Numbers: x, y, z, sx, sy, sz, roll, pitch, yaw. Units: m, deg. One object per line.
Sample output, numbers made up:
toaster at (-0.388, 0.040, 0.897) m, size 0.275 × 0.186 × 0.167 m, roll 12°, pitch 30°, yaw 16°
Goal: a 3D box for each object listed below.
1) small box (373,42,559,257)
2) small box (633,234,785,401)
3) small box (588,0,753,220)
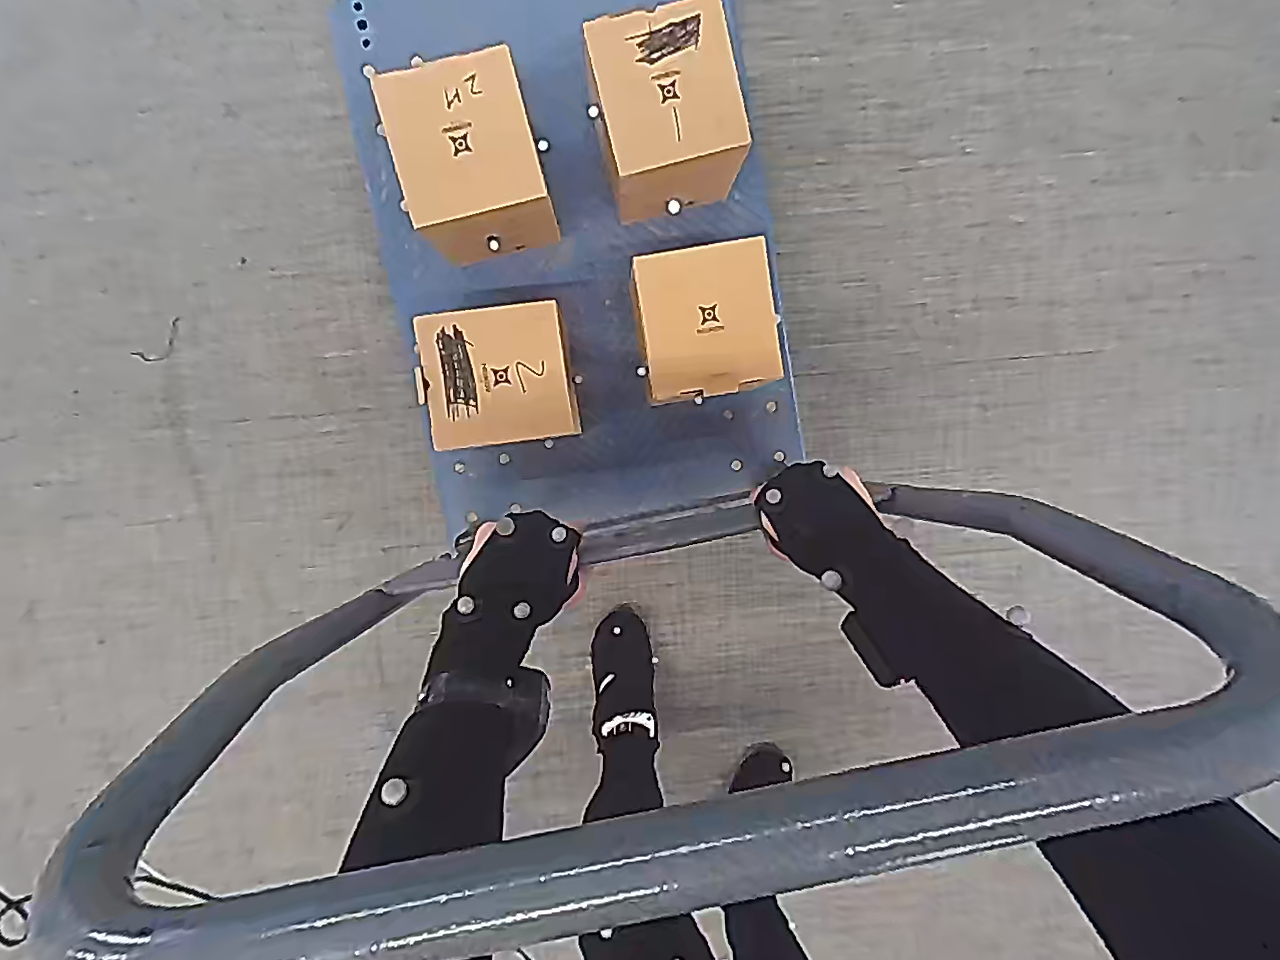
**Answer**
small box at (-0.210, -0.409, 0.707) m, size 0.168 × 0.176 × 0.179 m, roll -14°, pitch 97°, yaw -1°
small box at (0.084, -0.209, 0.740) m, size 0.168 × 0.176 × 0.179 m, roll -10°, pitch 97°, yaw -1°
small box at (0.034, -0.473, 0.708) m, size 0.168 × 0.176 × 0.179 m, roll -14°, pitch 97°, yaw 1°
